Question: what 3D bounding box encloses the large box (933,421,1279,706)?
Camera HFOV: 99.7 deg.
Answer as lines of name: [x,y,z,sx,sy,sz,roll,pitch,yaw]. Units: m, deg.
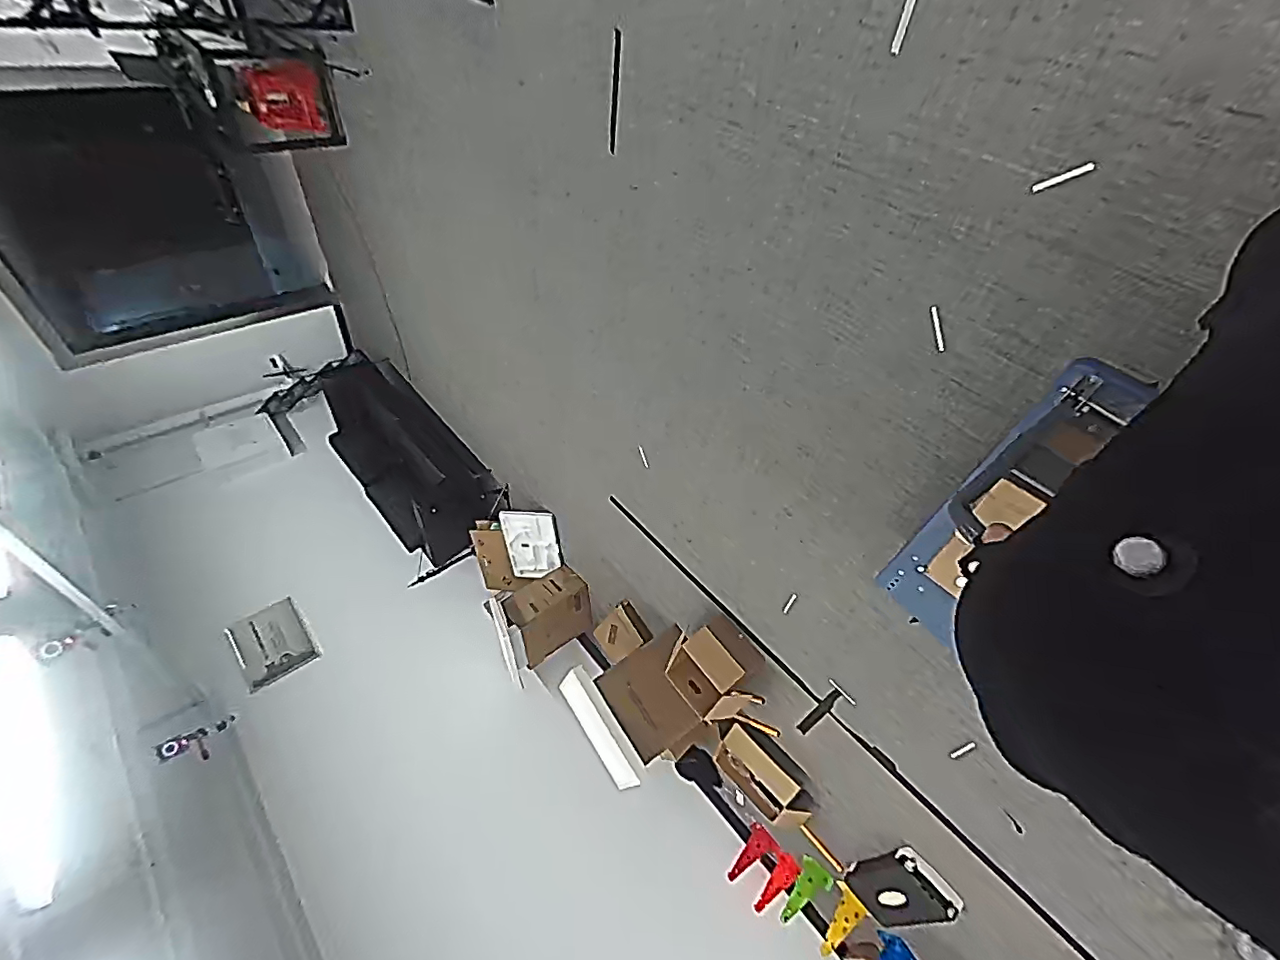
large box: [0.910,0.149,1.082,0.408,0.320,0.320,43,144,30]
